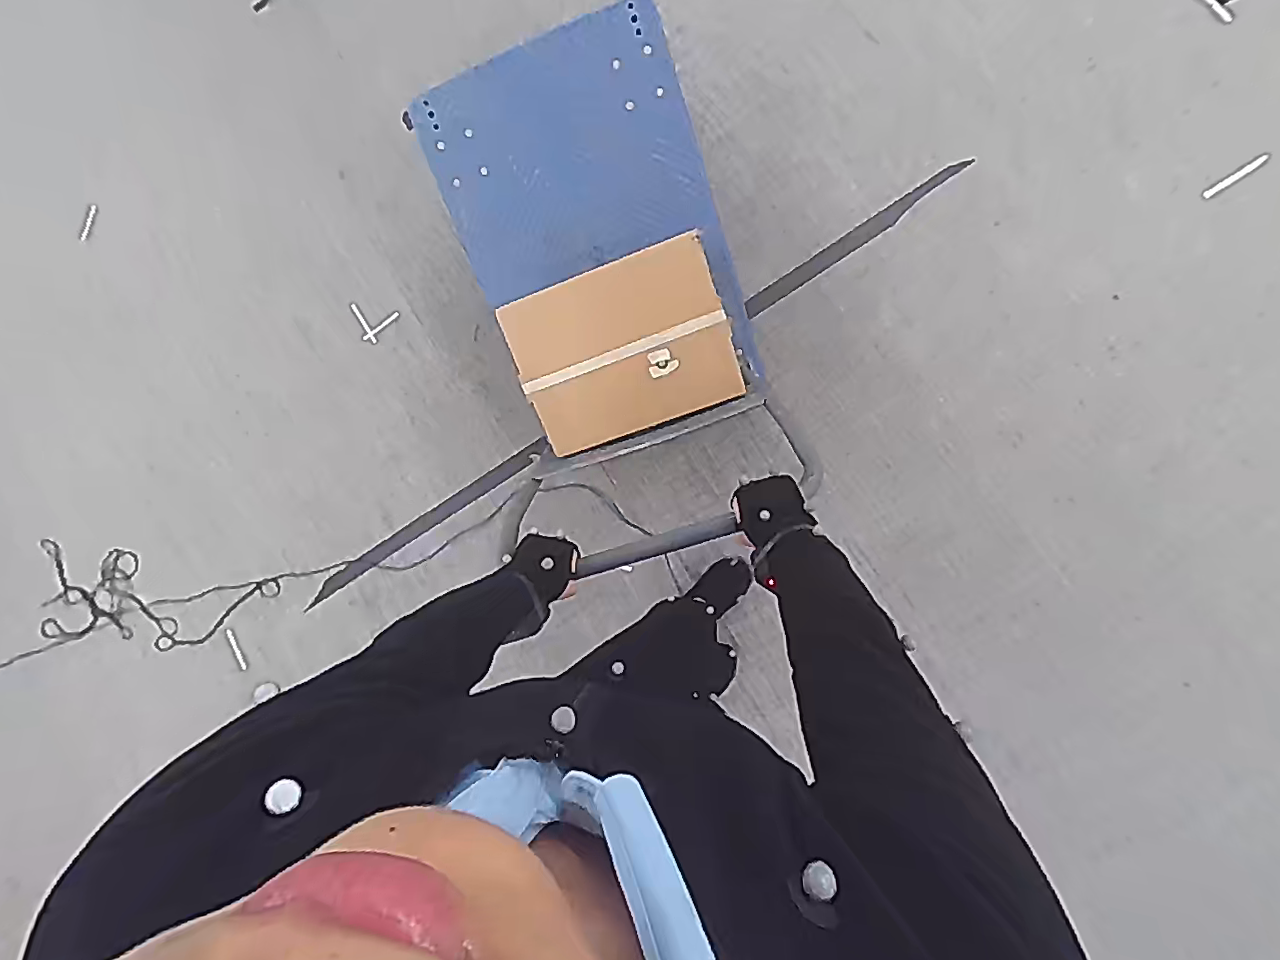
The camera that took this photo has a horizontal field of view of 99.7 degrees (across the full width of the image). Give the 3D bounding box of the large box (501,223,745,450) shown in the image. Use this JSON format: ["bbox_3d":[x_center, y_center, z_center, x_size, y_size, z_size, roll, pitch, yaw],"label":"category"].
[{"bbox_3d":[-0.027,-0.307,1.189,0.408,0.320,0.320,-20,107,8],"label":"large box"}]
